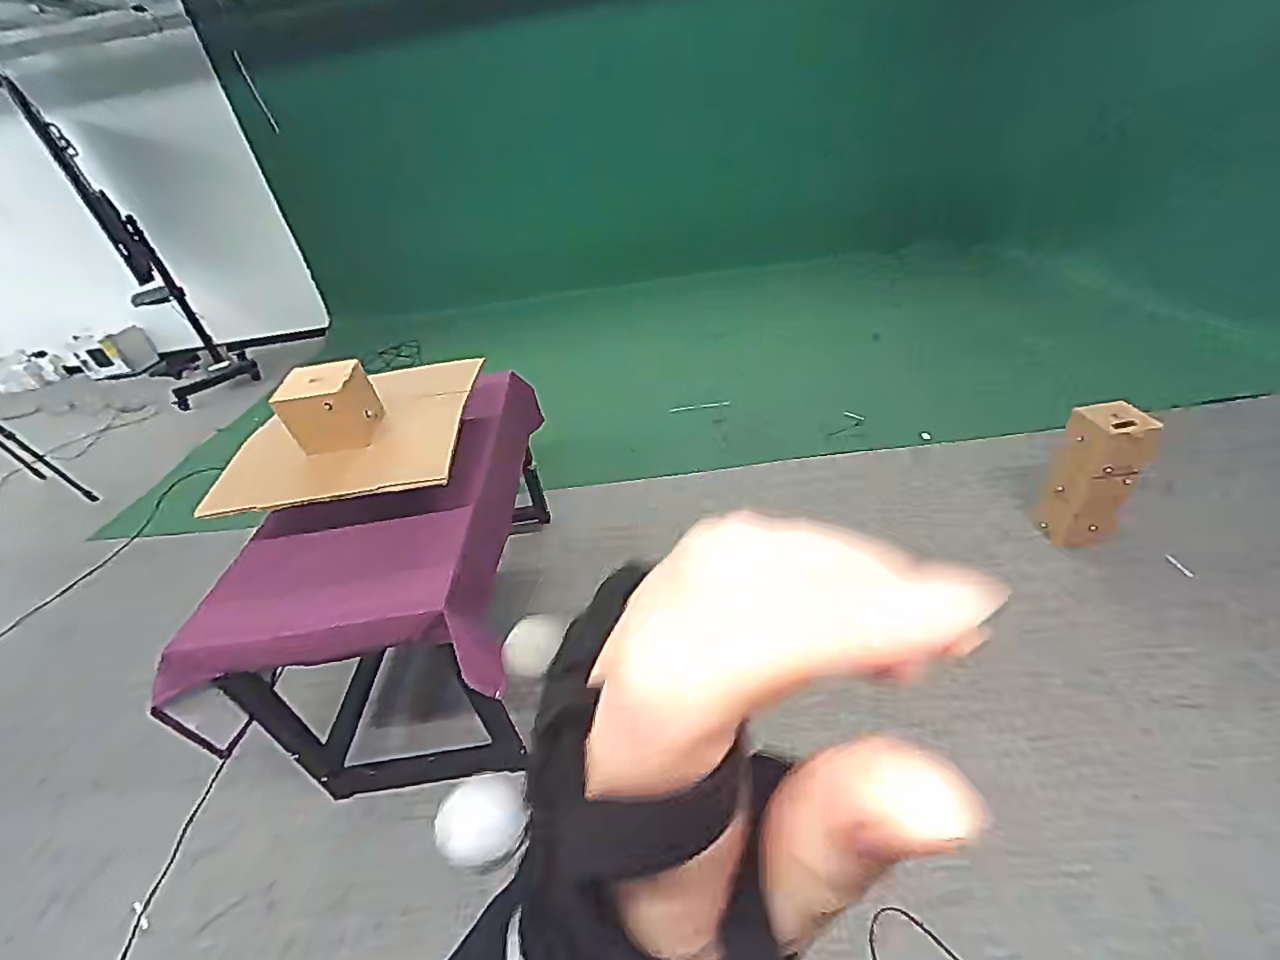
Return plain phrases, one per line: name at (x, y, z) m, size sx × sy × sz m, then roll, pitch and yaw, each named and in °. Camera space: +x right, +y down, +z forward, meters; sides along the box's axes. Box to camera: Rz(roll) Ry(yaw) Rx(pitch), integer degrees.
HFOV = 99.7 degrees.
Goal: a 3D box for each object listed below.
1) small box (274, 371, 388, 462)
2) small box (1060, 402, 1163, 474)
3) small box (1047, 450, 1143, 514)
small box at (-0.801, -0.163, 1.422) m, size 0.179 × 0.176 × 0.168 m, roll -9°, pitch 41°, yaw 0°
small box at (1.533, -0.132, 1.770) m, size 0.168 × 0.176 × 0.179 m, roll -9°, pitch 34°, yaw 3°
small box at (1.563, -0.005, 1.871) m, size 0.179 × 0.176 × 0.168 m, roll -10°, pitch 34°, yaw 1°
